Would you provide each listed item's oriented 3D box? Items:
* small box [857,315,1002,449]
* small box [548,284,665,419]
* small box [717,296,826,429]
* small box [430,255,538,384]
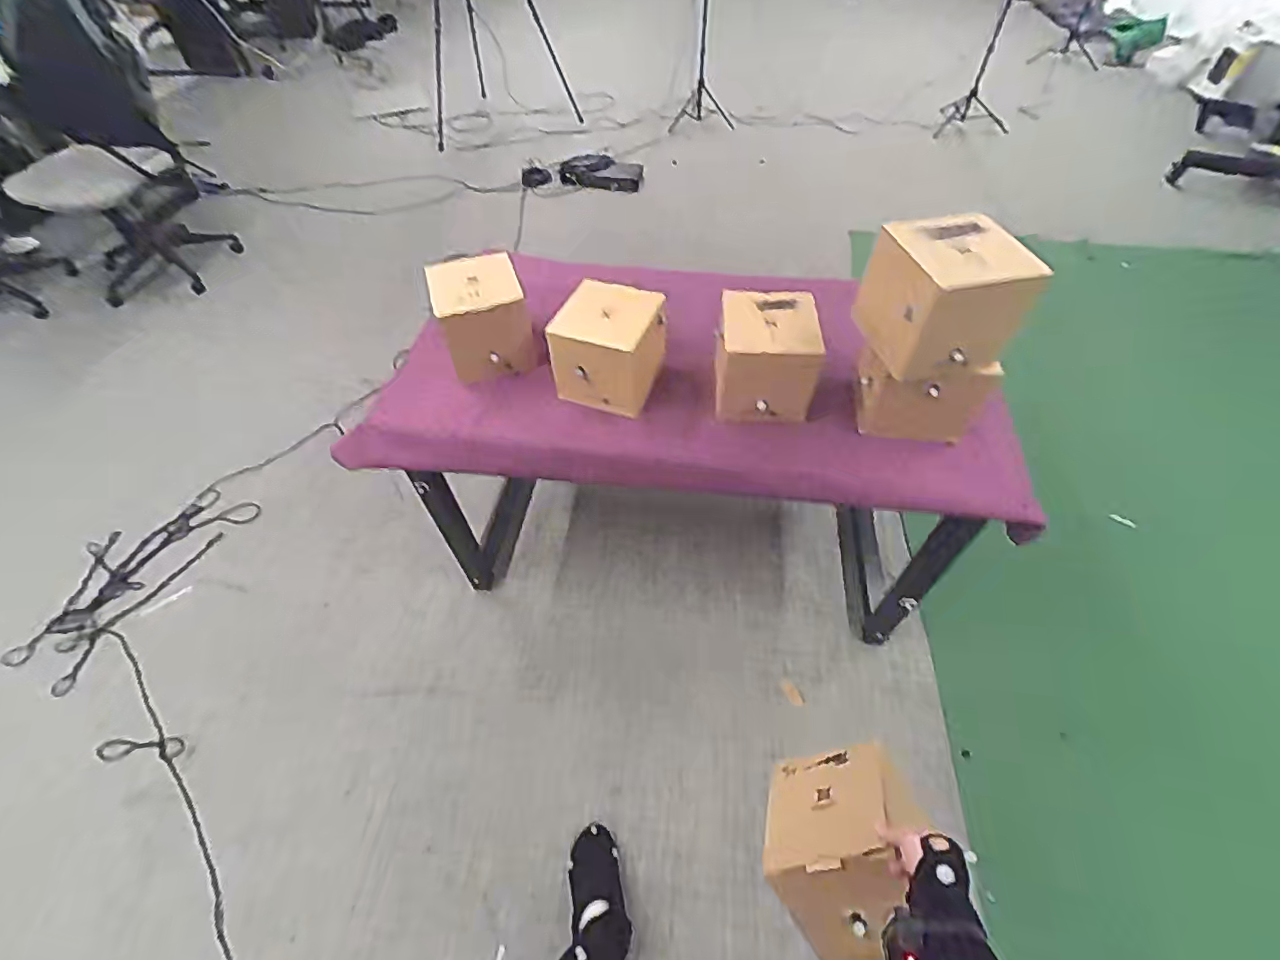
[{"bbox_3d":[0.499,-0.172,0.967,0.179,0.176,0.168,7,52,7],"label":"small box"},{"bbox_3d":[-0.054,-0.243,1.034,0.168,0.176,0.179,16,53,14],"label":"small box"},{"bbox_3d":[0.234,-0.219,1.008,0.168,0.176,0.179,3,52,4],"label":"small box"},{"bbox_3d":[-0.314,-0.324,1.097,0.168,0.176,0.179,-15,54,-11],"label":"small box"}]
